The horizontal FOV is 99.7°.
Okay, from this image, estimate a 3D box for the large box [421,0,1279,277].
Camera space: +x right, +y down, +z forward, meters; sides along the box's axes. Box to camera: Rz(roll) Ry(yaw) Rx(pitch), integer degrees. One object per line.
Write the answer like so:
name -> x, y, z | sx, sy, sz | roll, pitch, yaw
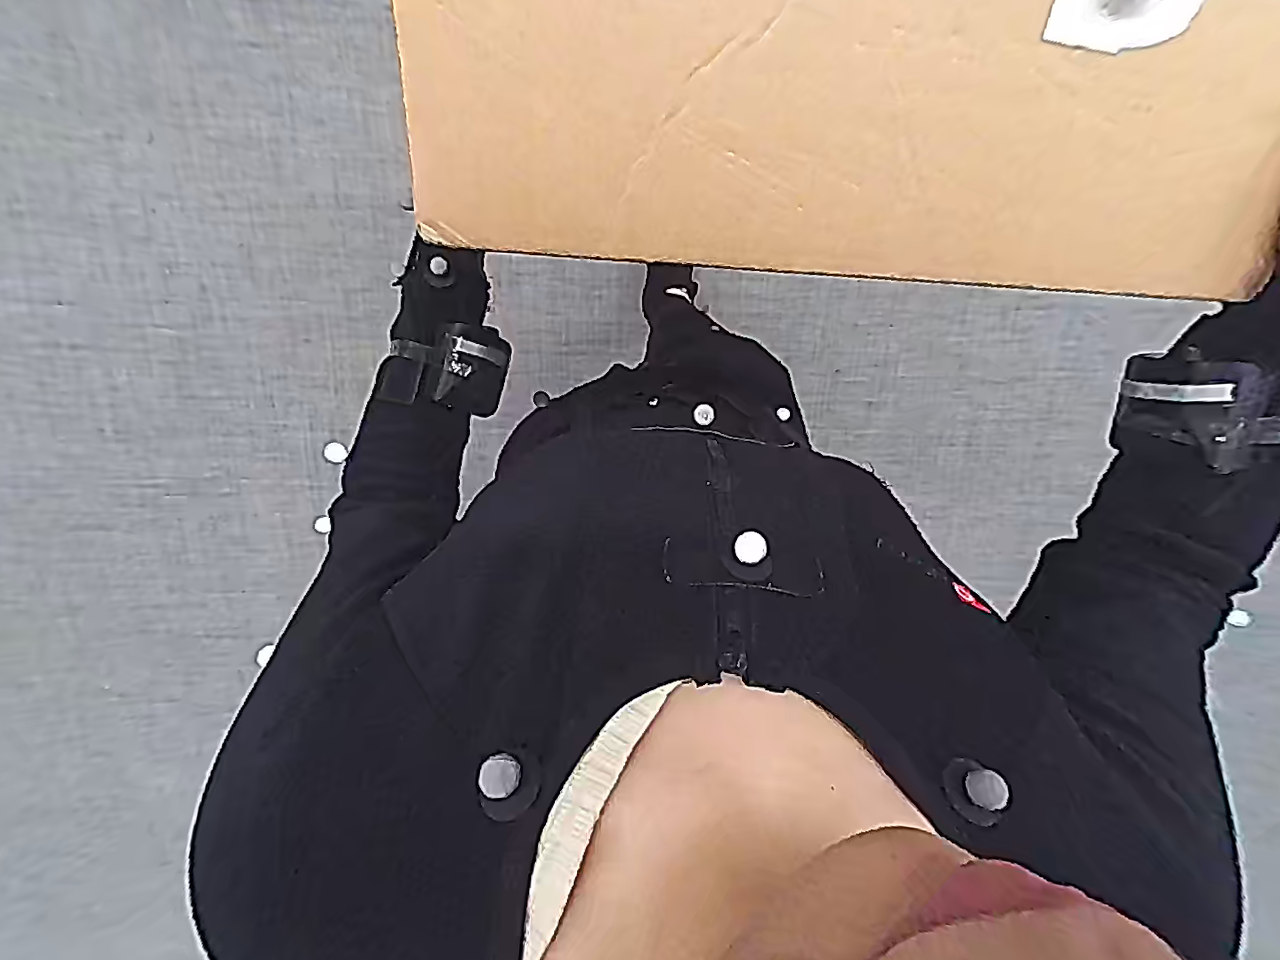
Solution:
large box -> 0.101, -0.310, 0.319 | 0.408, 0.320, 0.320 | 0, 119, -8
